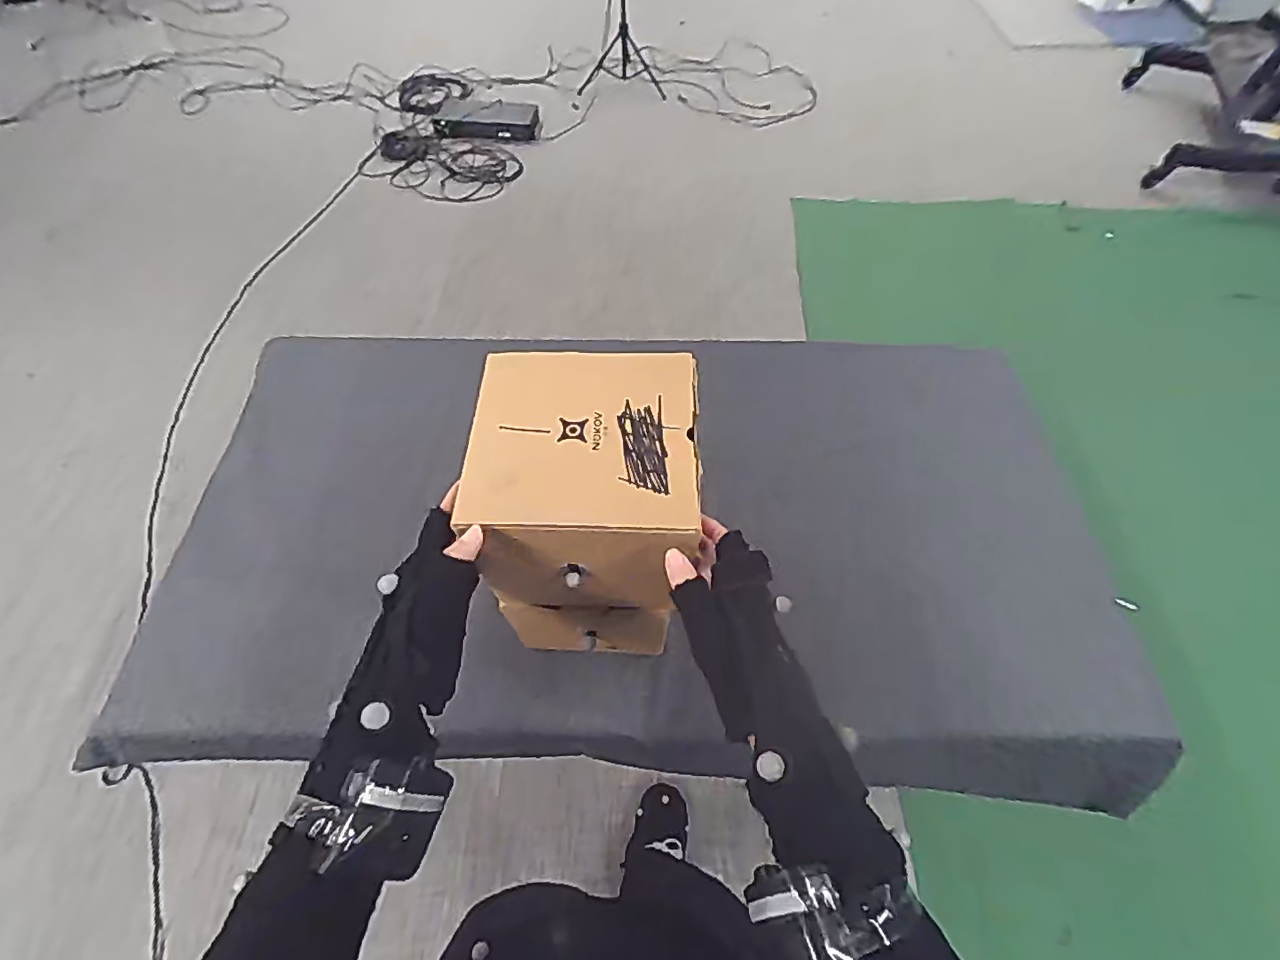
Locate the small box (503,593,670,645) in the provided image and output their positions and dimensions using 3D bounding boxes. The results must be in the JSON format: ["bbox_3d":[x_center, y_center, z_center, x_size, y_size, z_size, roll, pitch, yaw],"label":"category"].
[{"bbox_3d":[-0.048,0.087,0.627,0.168,0.176,0.179,0,60,1],"label":"small box"}]

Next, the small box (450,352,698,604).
[{"bbox_3d":[-0.044,0.005,0.484,0.179,0.176,0.168,-1,59,2],"label":"small box"}]
